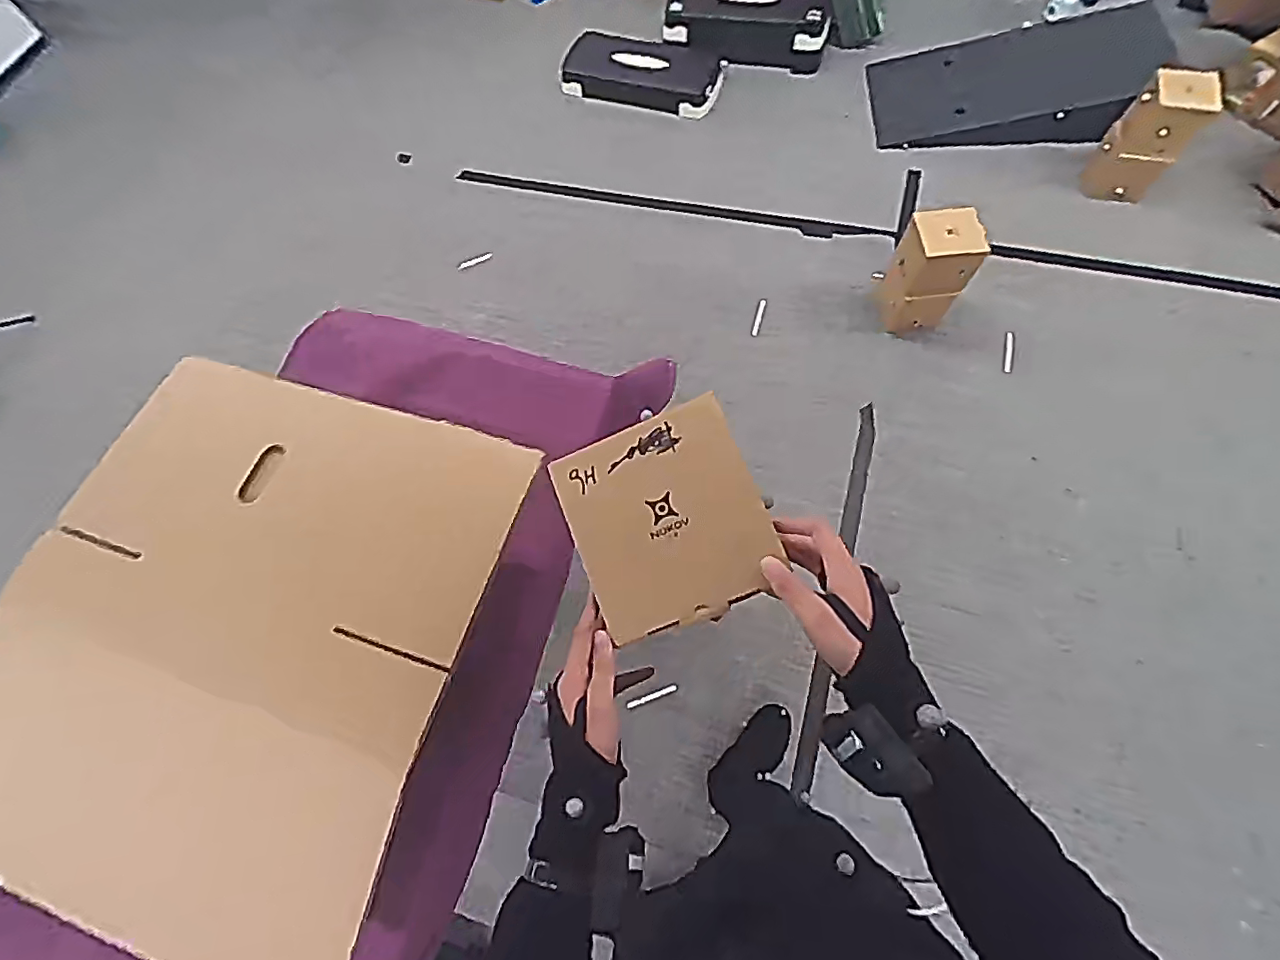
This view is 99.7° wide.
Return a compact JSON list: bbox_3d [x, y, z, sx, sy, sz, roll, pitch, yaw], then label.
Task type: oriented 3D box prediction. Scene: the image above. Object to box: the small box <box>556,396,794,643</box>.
[{"bbox_3d":[0.042,0.041,0.551,0.168,0.176,0.179,-23,80,8],"label":"small box"}]
